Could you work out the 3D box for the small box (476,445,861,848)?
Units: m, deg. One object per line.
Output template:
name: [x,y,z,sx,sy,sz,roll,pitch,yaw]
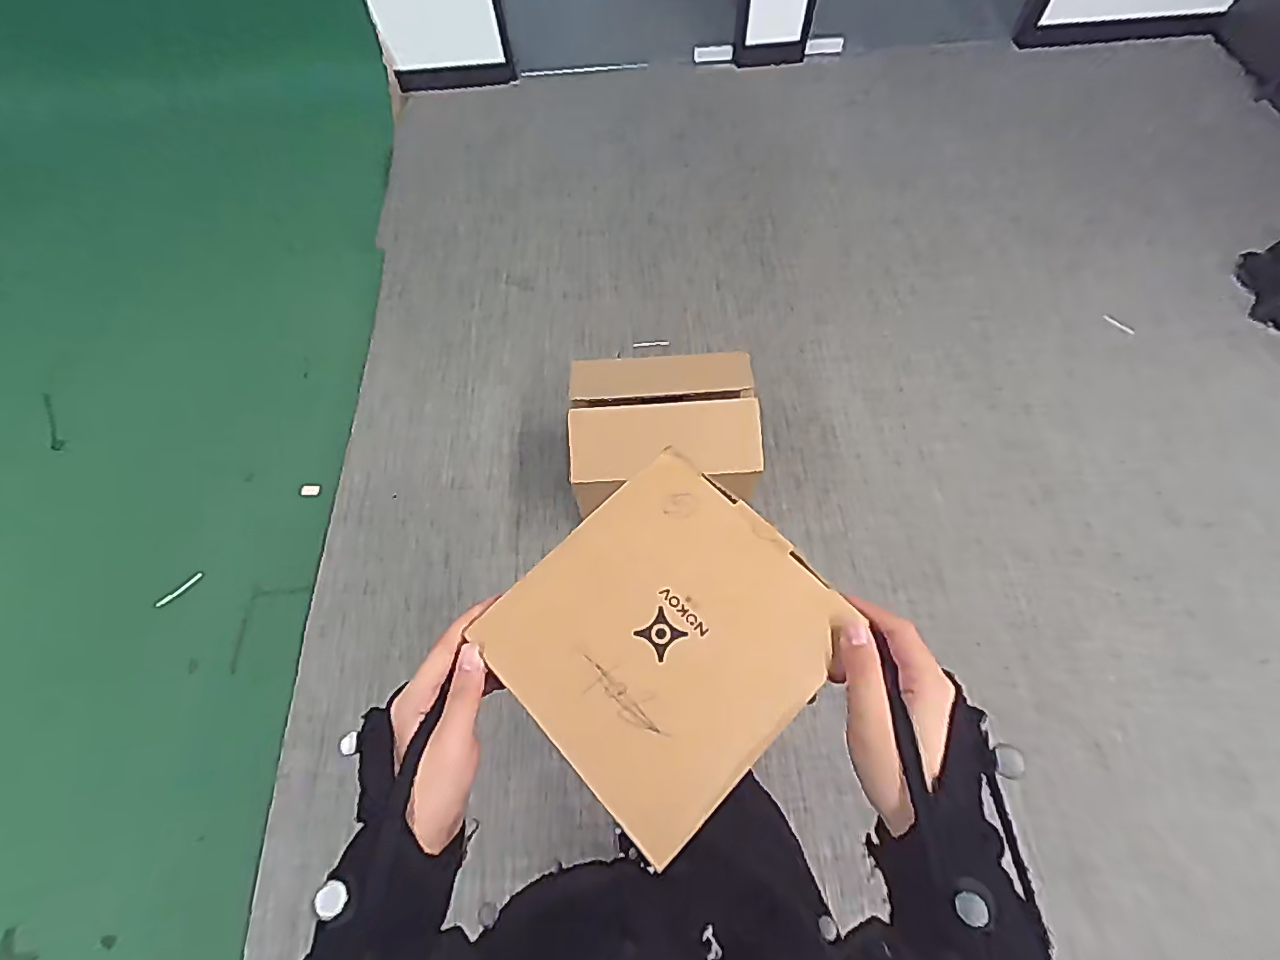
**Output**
small box: [0.019,0.112,0.397,0.179,0.176,0.168,-43,72,-12]
